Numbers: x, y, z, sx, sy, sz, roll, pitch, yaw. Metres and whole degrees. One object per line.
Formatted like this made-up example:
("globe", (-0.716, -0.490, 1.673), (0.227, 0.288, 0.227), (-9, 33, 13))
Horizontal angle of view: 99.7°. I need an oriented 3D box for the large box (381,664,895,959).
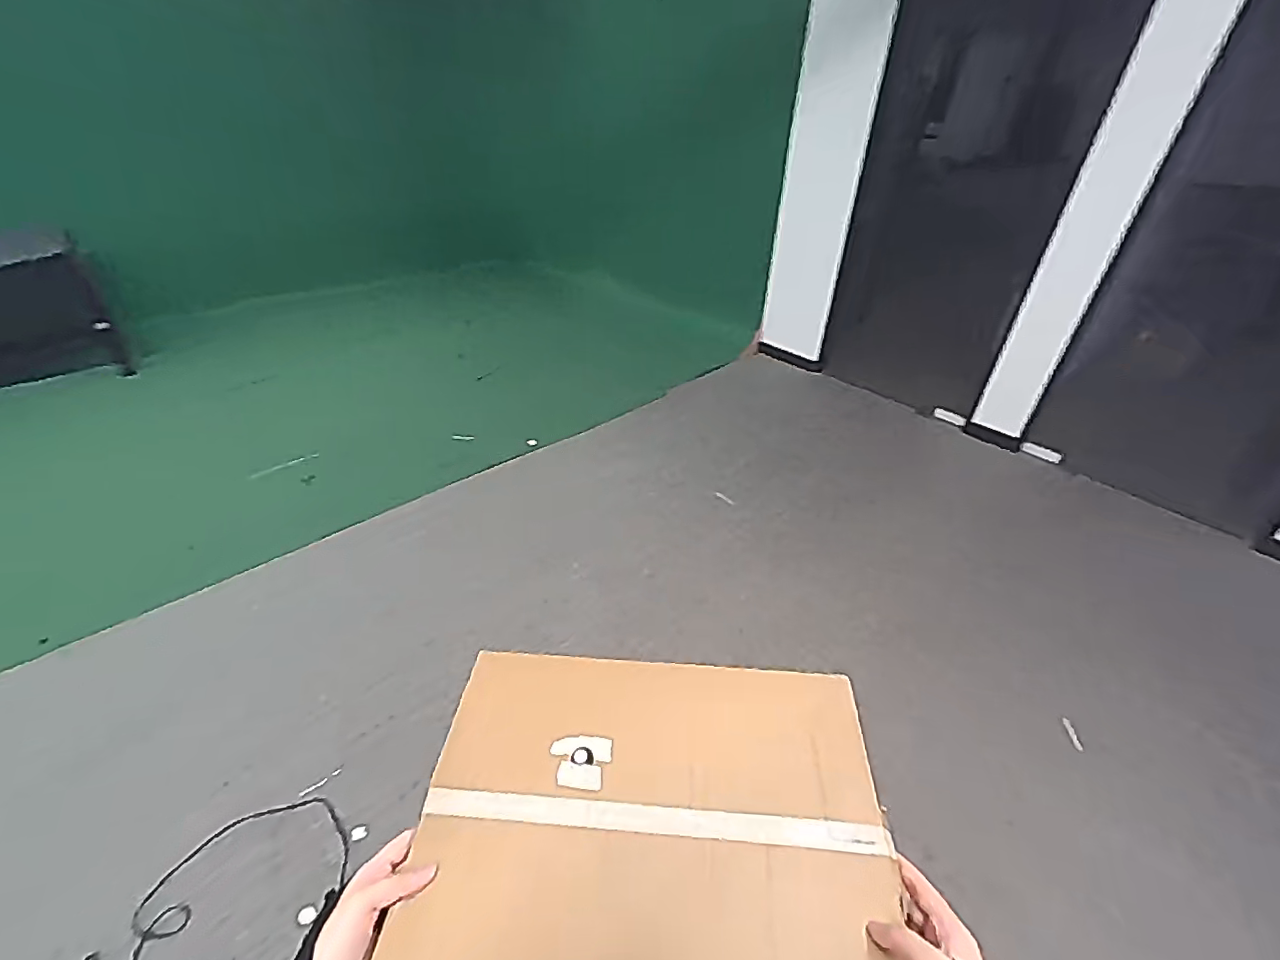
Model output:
("large box", (0.011, 0.421, 0.582), (0.408, 0.320, 0.320), (0, 40, 6))
